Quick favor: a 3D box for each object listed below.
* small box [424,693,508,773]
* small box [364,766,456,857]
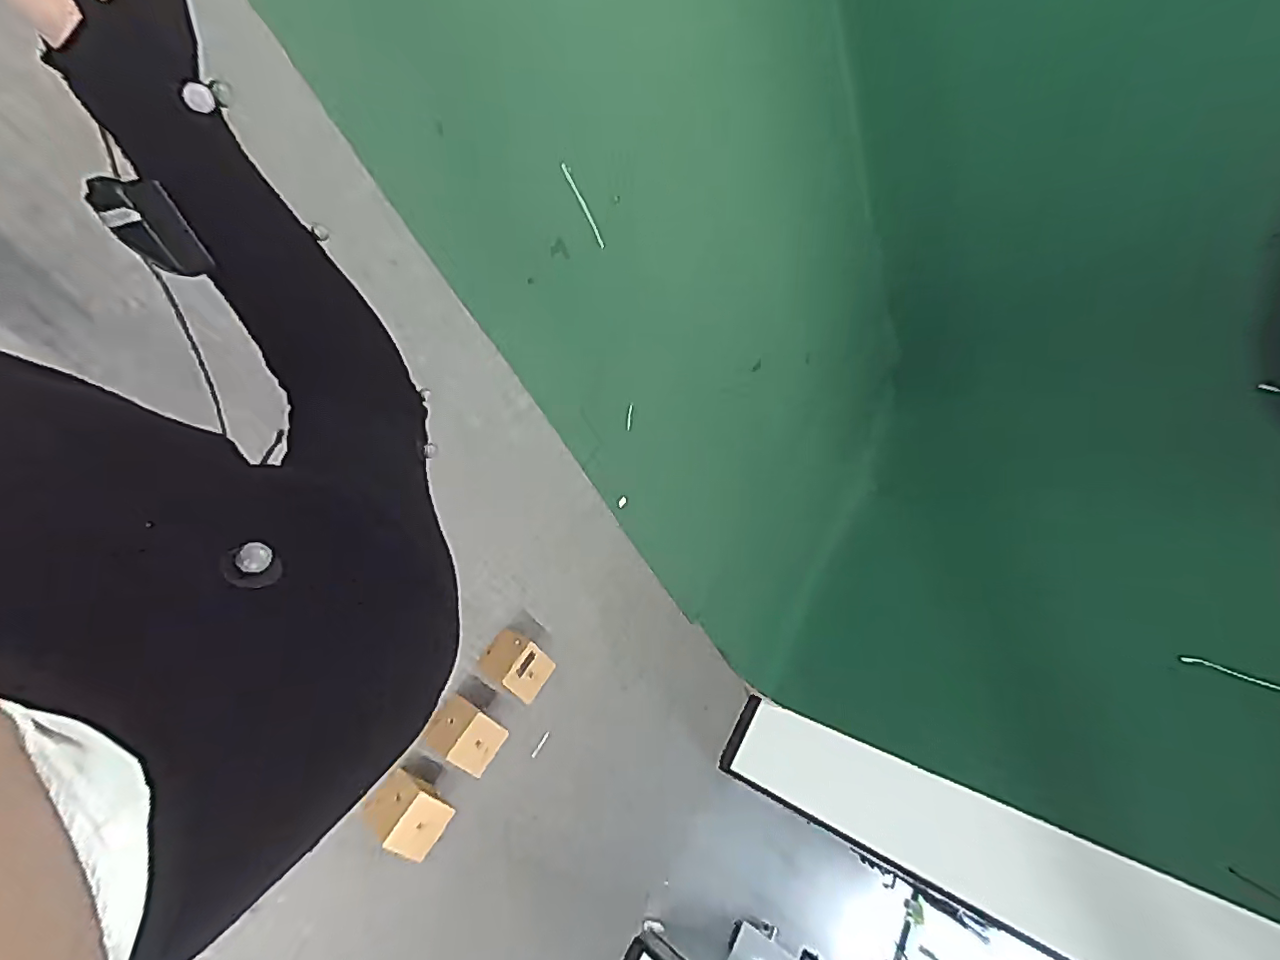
[{"bbox_3d":[-0.591,0.847,1.828,0.168,0.176,0.179,-53,132,-26],"label":"small box"},{"bbox_3d":[-0.732,1.042,1.712,0.168,0.176,0.179,-54,132,-27],"label":"small box"}]
